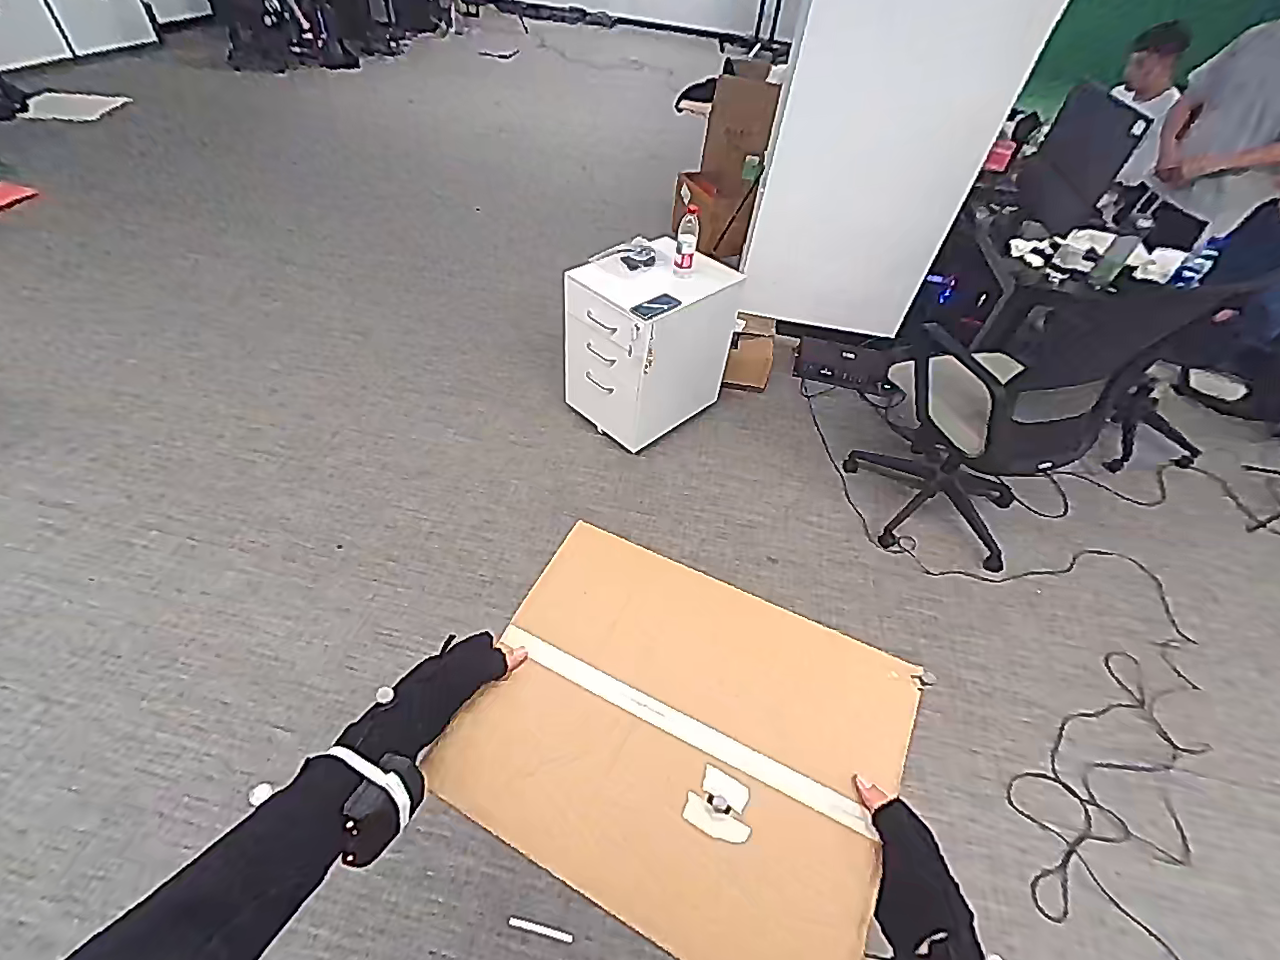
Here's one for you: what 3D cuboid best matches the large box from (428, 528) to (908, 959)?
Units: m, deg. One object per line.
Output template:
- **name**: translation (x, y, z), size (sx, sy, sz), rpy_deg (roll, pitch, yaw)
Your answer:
- **large box**: translation (0.040, 0.322, 0.664), size (0.408, 0.320, 0.320), rpy_deg (22, 60, 16)
